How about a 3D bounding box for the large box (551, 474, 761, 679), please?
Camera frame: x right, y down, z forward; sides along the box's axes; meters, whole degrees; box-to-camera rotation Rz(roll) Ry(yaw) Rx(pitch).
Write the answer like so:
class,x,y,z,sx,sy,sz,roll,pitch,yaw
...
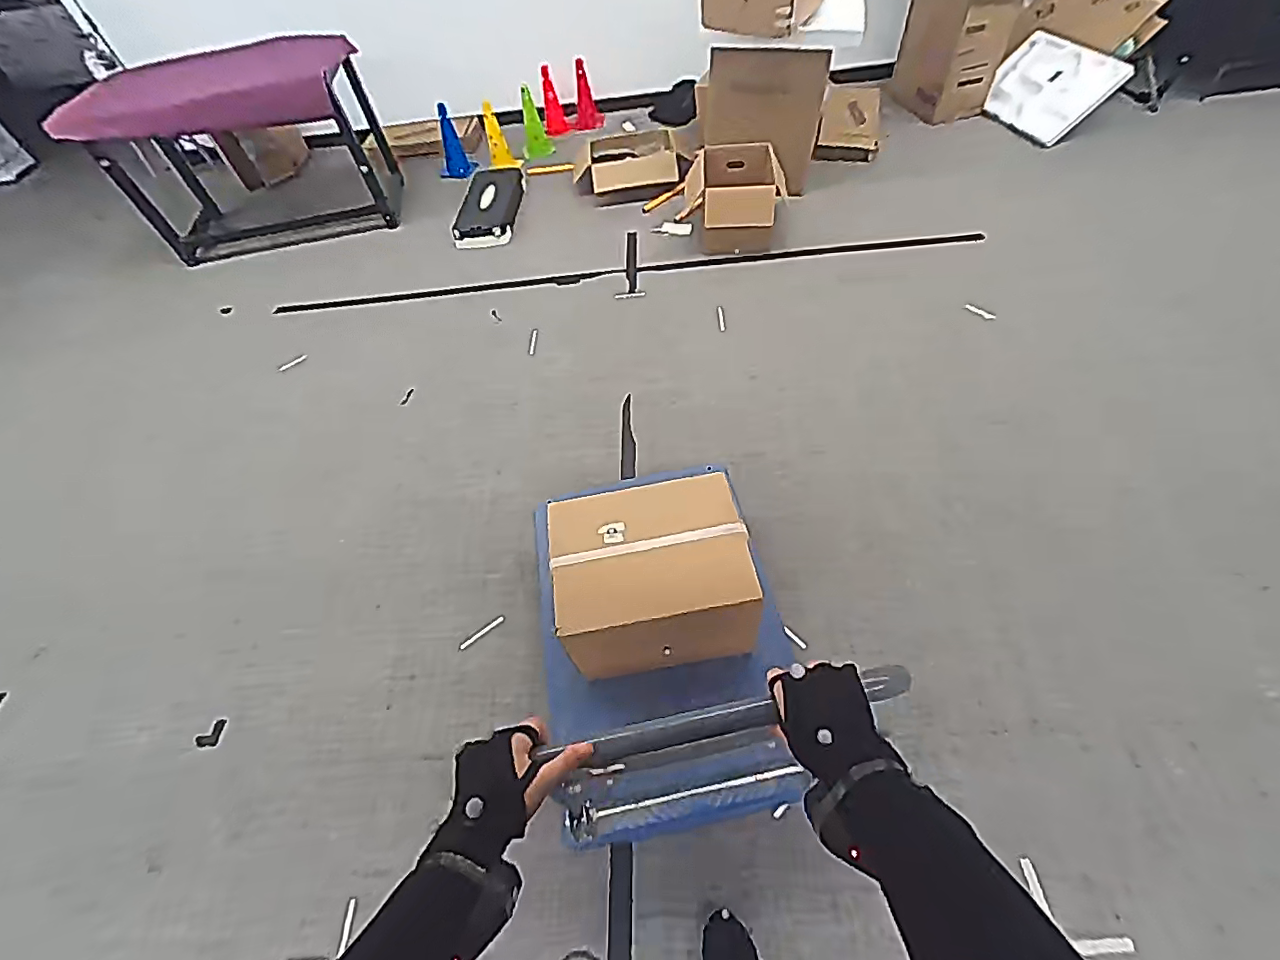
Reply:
class,x,y,z,sx,sy,sz,roll,pitch,yaw
large box,0.035,0.232,1.256,0.408,0.320,0.320,-11,53,0
